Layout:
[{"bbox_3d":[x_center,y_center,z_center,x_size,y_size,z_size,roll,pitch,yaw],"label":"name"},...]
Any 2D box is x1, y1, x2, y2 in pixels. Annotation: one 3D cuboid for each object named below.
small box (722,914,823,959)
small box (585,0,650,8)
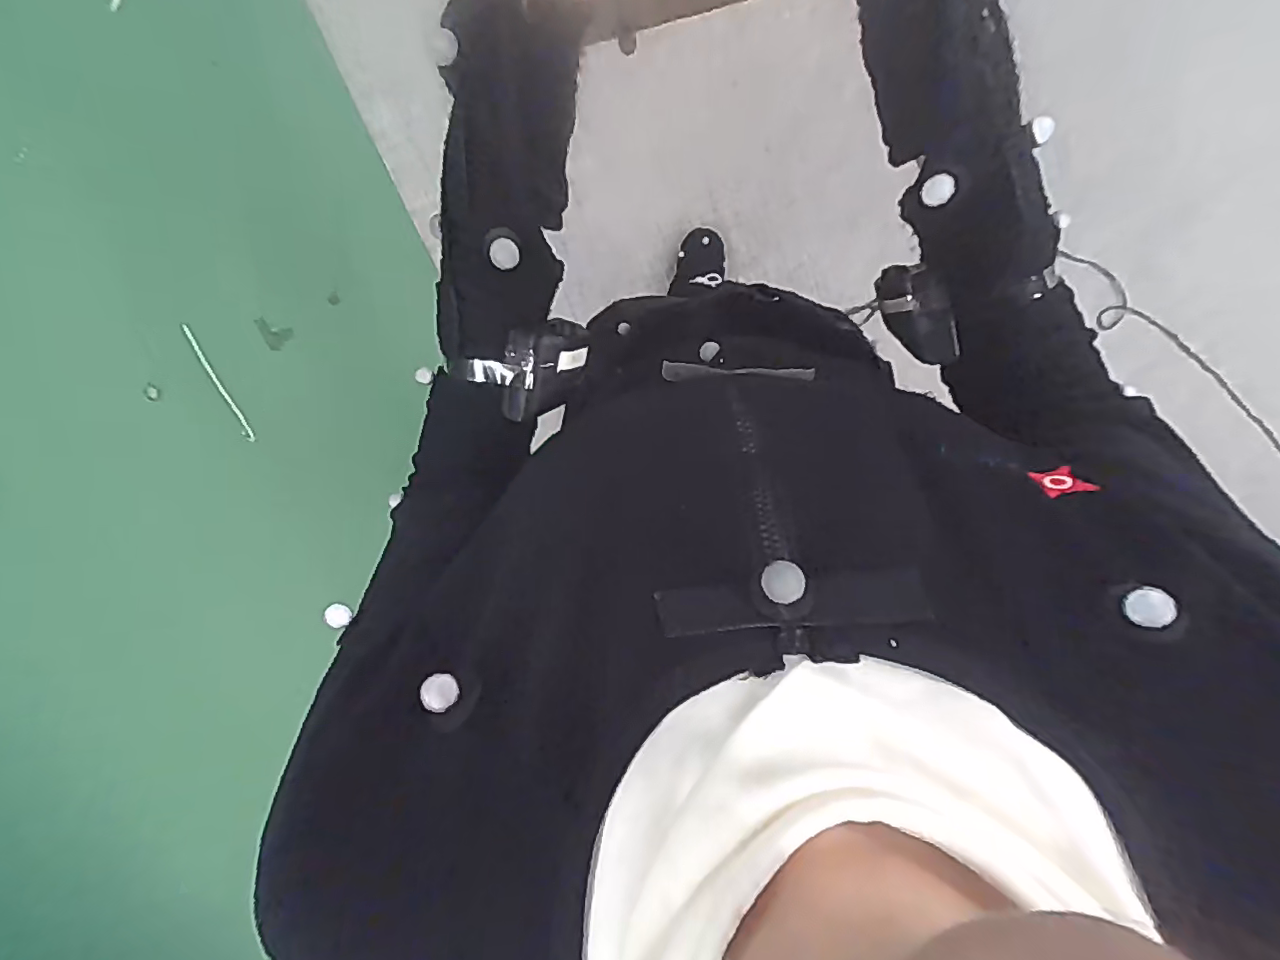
[{"bbox_3d":[0.256,0.927,0.962,0.168,0.176,0.179,-21,109,7],"label":"small box"},{"bbox_3d":[0.021,-0.363,0.259,0.168,0.176,0.179,-10,120,7],"label":"small box"}]
